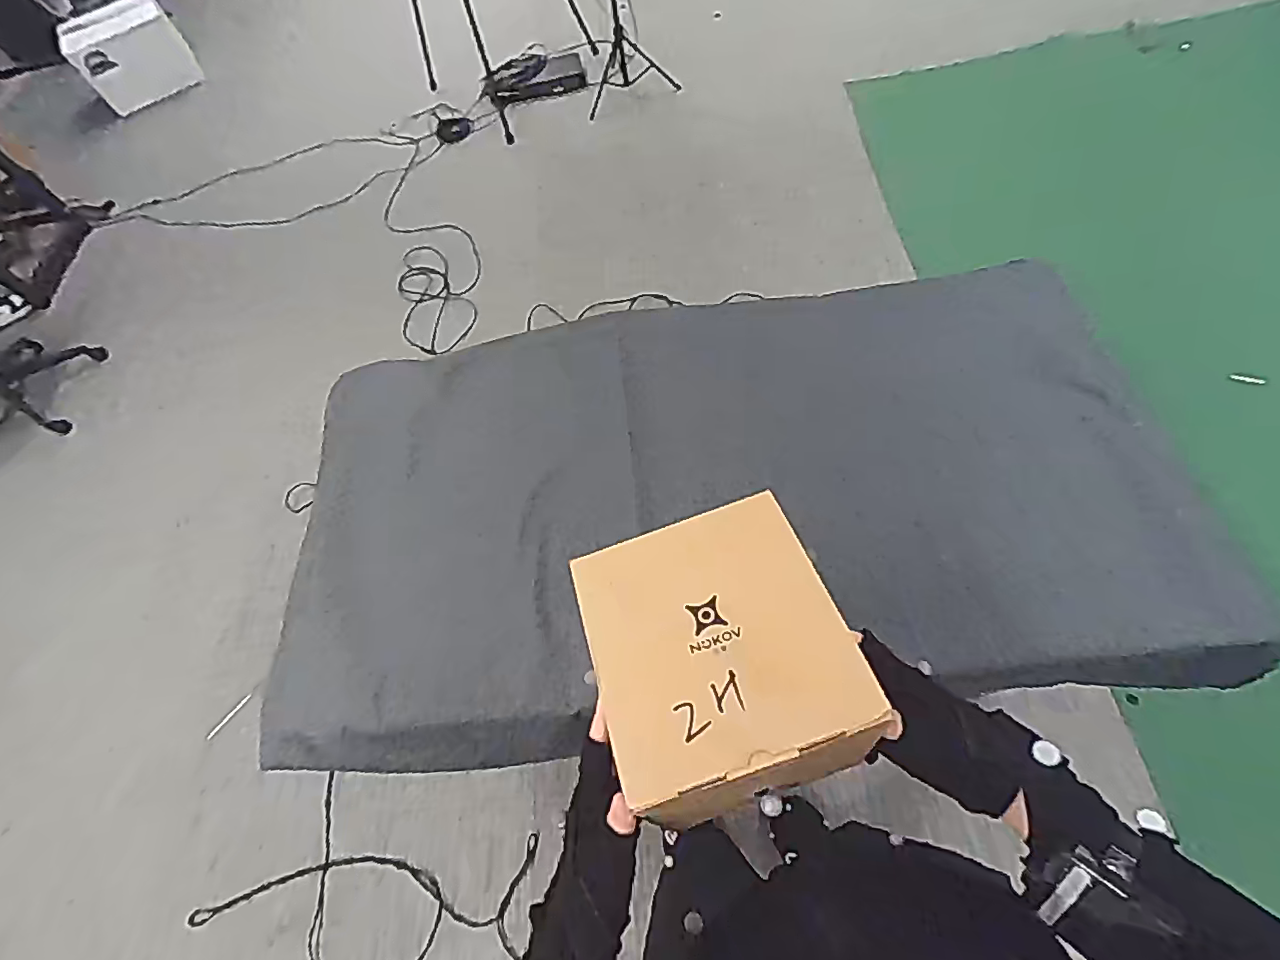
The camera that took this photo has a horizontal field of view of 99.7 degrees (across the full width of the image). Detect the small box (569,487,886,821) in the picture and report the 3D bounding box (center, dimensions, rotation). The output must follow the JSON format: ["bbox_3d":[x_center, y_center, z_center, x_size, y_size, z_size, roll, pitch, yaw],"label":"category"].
[{"bbox_3d":[0.059,0.141,0.424,0.168,0.176,0.179,-20,53,0],"label":"small box"}]
